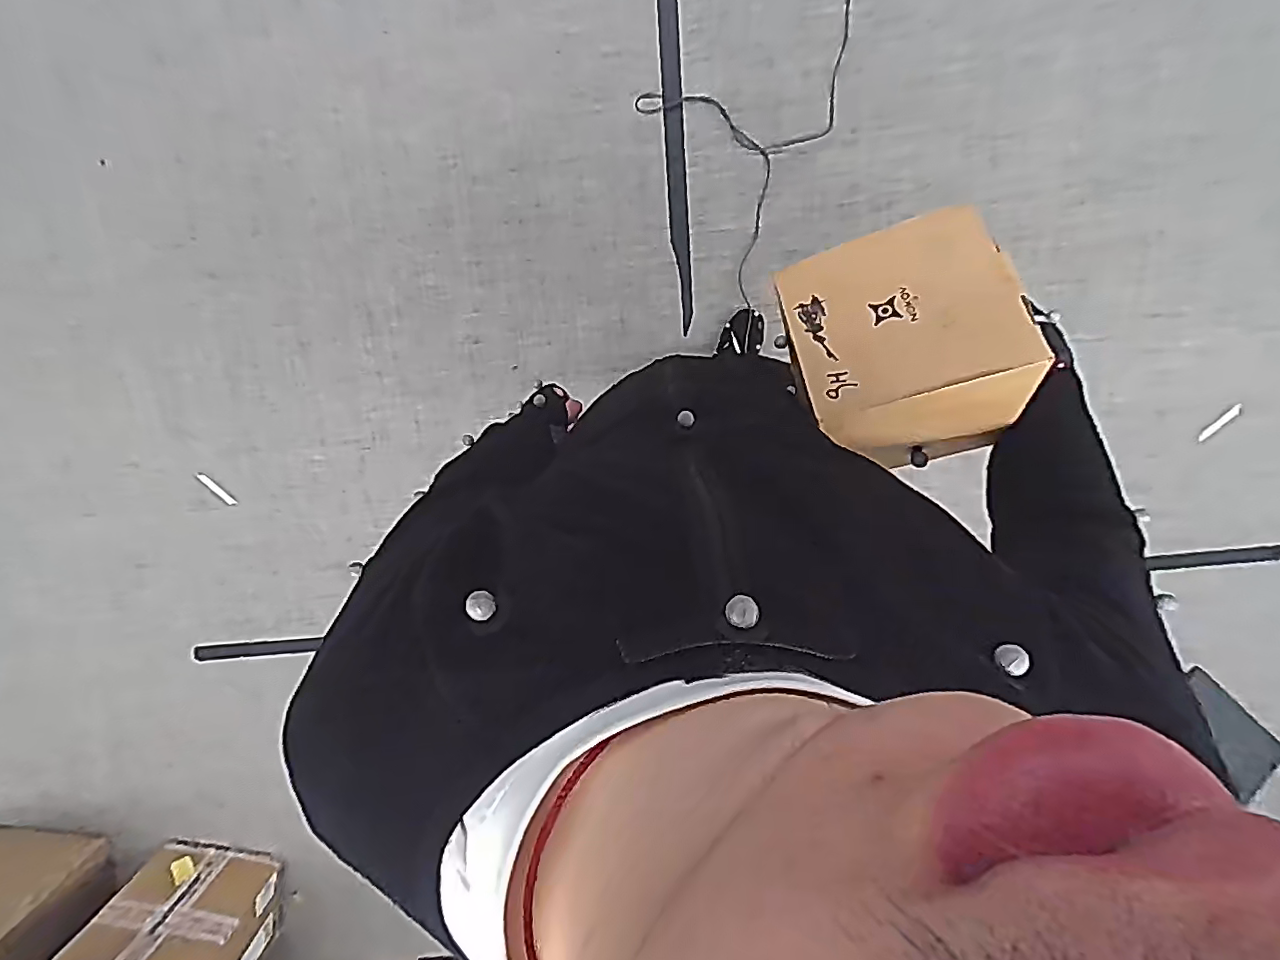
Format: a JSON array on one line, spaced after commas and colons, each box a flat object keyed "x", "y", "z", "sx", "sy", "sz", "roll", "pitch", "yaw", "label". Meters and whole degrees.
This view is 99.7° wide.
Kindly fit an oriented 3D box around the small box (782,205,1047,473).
[{"x": 0.251, "y": -0.124, "z": 0.539, "sx": 0.179, "sy": 0.176, "sz": 0.168, "roll": -14, "pitch": 66, "yaw": 16, "label": "small box"}]
